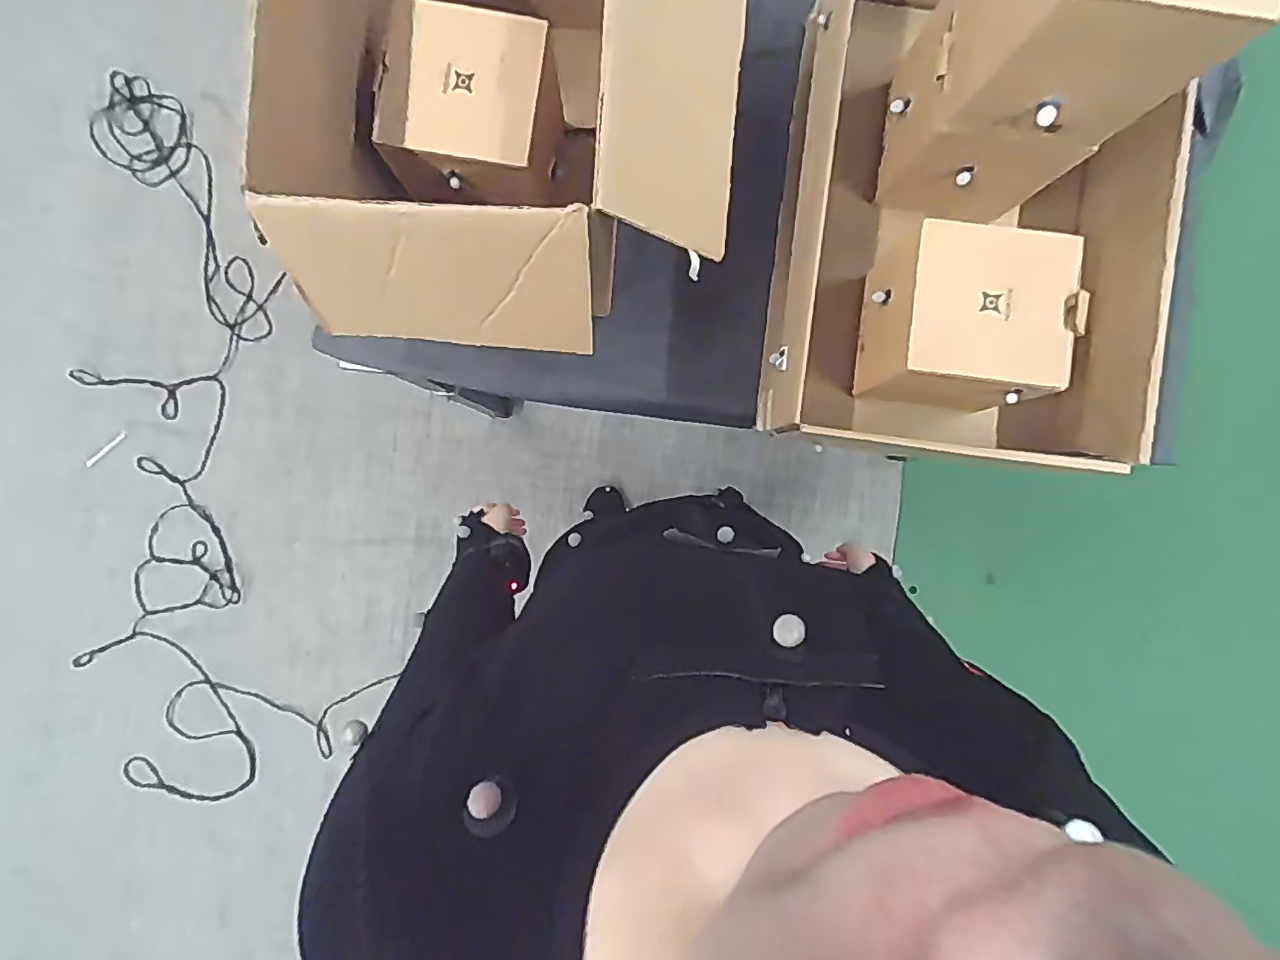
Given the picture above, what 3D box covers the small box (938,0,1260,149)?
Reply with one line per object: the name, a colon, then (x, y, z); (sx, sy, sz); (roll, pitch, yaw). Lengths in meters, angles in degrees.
small box: (0.405, -0.447, 0.494); (0.168, 0.176, 0.179); (8, 93, -1)
